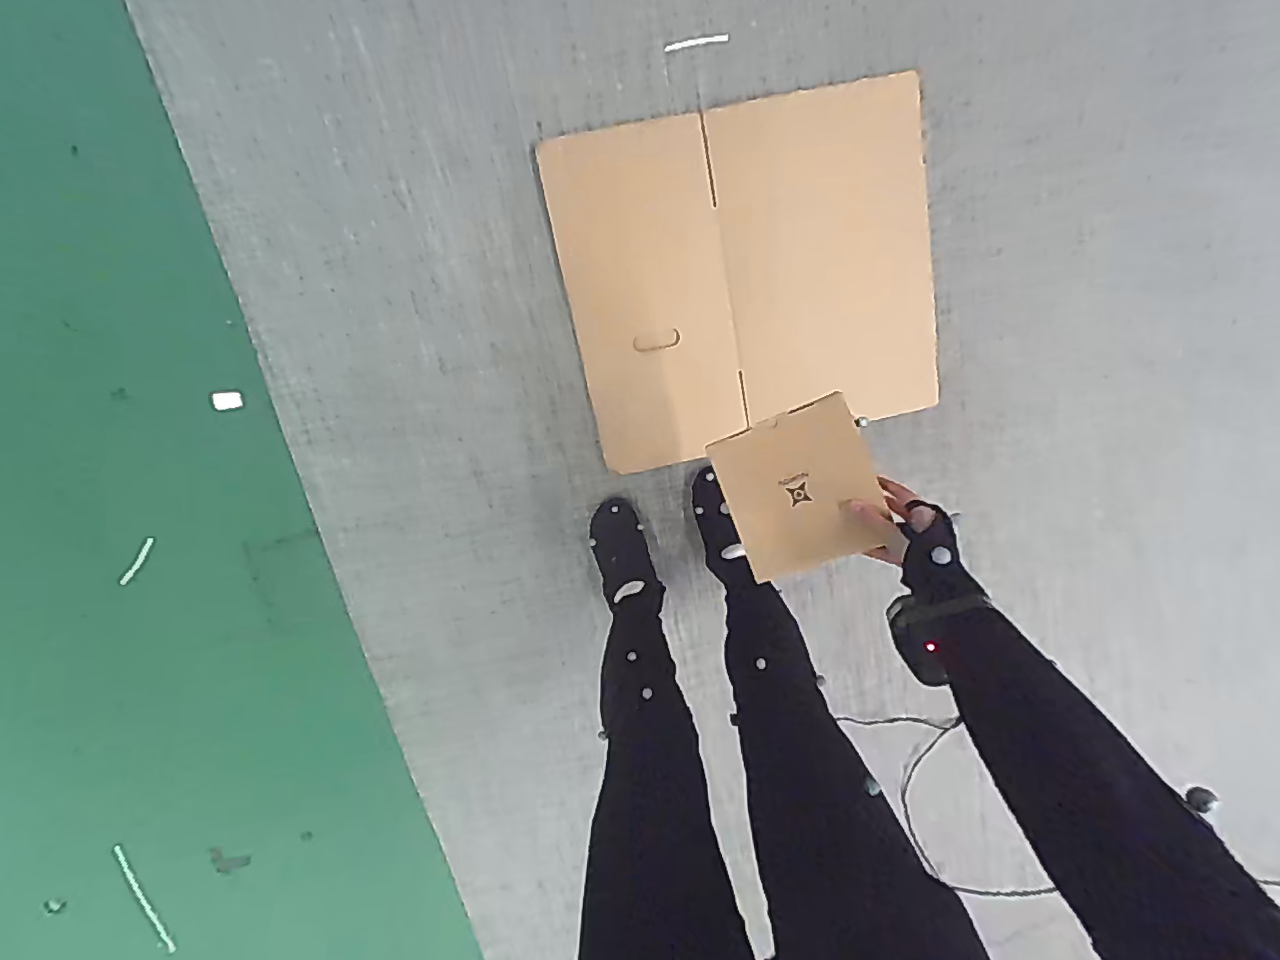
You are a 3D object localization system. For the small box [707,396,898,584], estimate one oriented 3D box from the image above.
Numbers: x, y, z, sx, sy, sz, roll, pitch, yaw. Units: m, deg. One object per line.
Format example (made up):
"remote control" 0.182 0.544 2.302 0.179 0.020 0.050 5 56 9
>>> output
"small box" 0.208 0.011 0.685 0.168 0.176 0.179 -23 83 21
